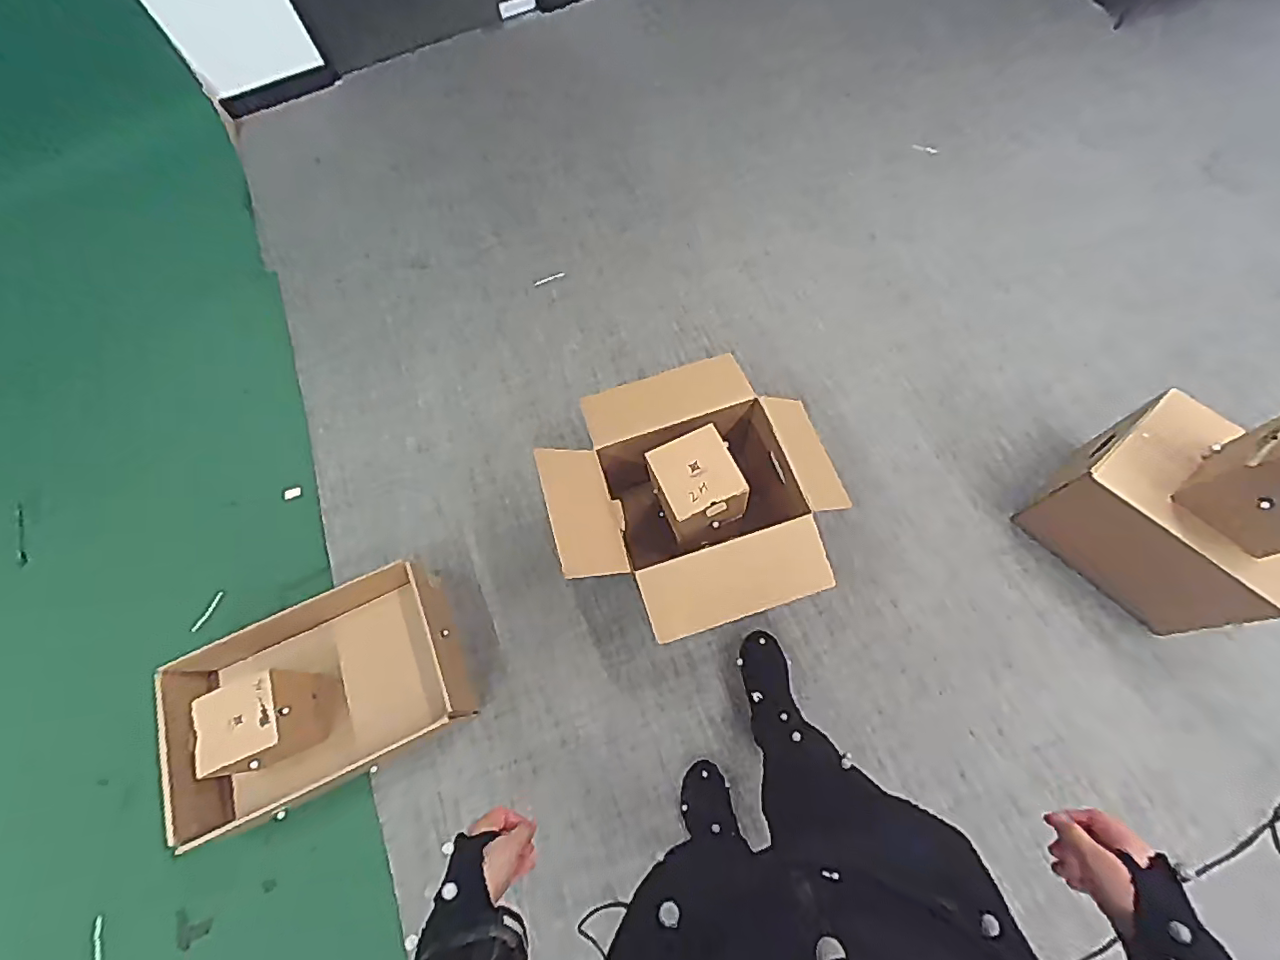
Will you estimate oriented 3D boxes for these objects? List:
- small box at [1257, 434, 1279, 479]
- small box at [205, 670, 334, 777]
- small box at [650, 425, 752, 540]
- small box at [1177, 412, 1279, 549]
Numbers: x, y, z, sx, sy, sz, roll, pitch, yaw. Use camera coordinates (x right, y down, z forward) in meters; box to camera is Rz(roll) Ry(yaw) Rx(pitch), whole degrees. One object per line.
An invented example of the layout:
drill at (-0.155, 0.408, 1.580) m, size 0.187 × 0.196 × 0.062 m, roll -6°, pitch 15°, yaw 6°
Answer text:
small box at (1.174, -0.050, 0.850) m, size 0.168 × 0.176 × 0.179 m, roll -40°, pitch 69°, yaw -9°
small box at (-0.844, 0.558, 1.240) m, size 0.179 × 0.176 × 0.168 m, roll -24°, pitch 66°, yaw -5°
small box at (0.136, 0.012, 1.230) m, size 0.168 × 0.176 × 0.179 m, roll -25°, pitch 67°, yaw -3°
small box at (1.183, 0.003, 1.004) m, size 0.168 × 0.176 × 0.179 m, roll -40°, pitch 69°, yaw -10°
